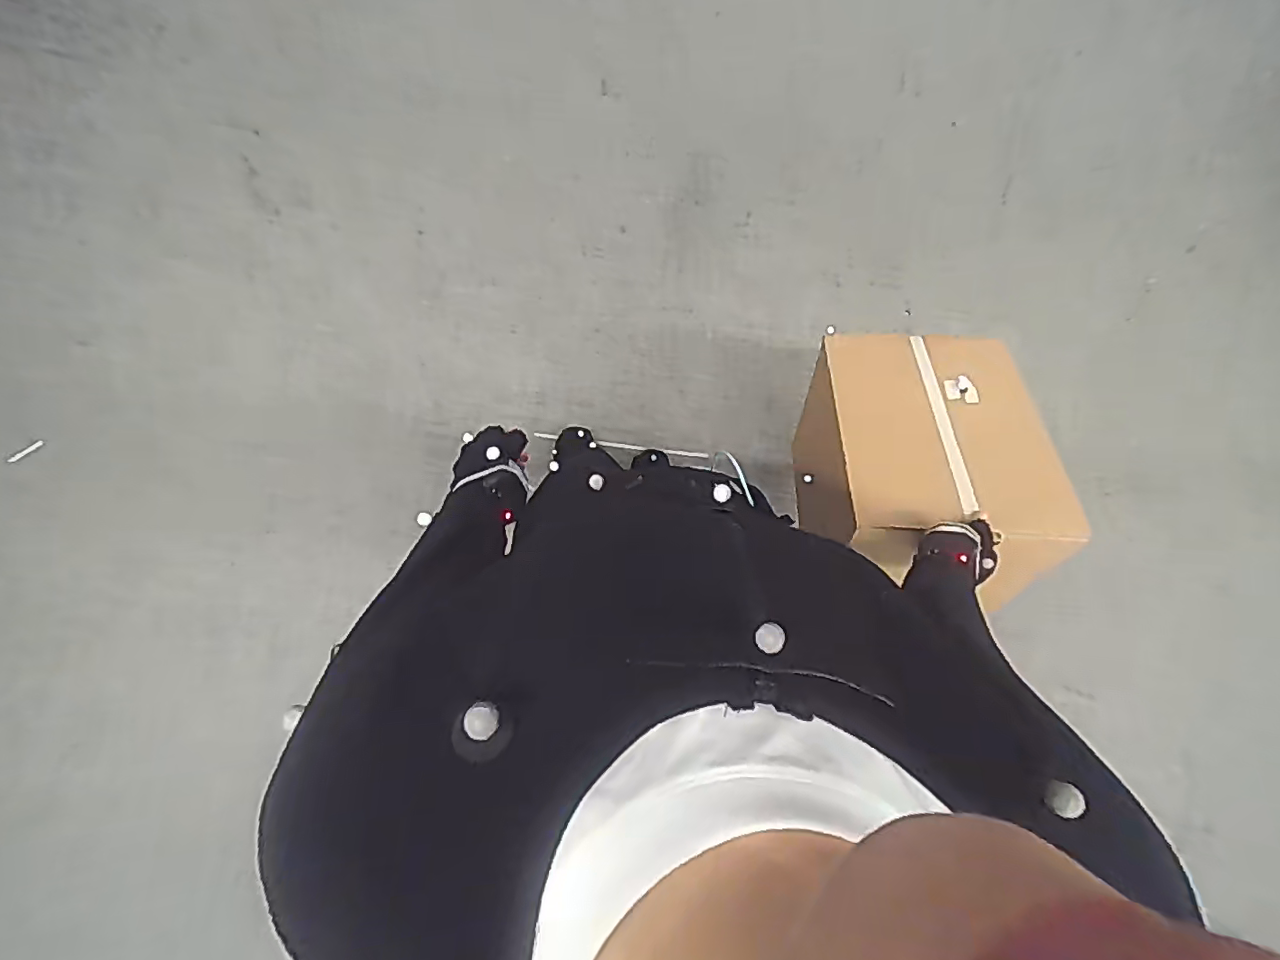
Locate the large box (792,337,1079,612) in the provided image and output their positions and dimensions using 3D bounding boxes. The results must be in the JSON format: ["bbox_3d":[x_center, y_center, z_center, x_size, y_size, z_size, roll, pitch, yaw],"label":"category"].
[{"bbox_3d":[0.475,-0.006,0.988,0.320,0.320,0.408,3,54,4],"label":"large box"}]
